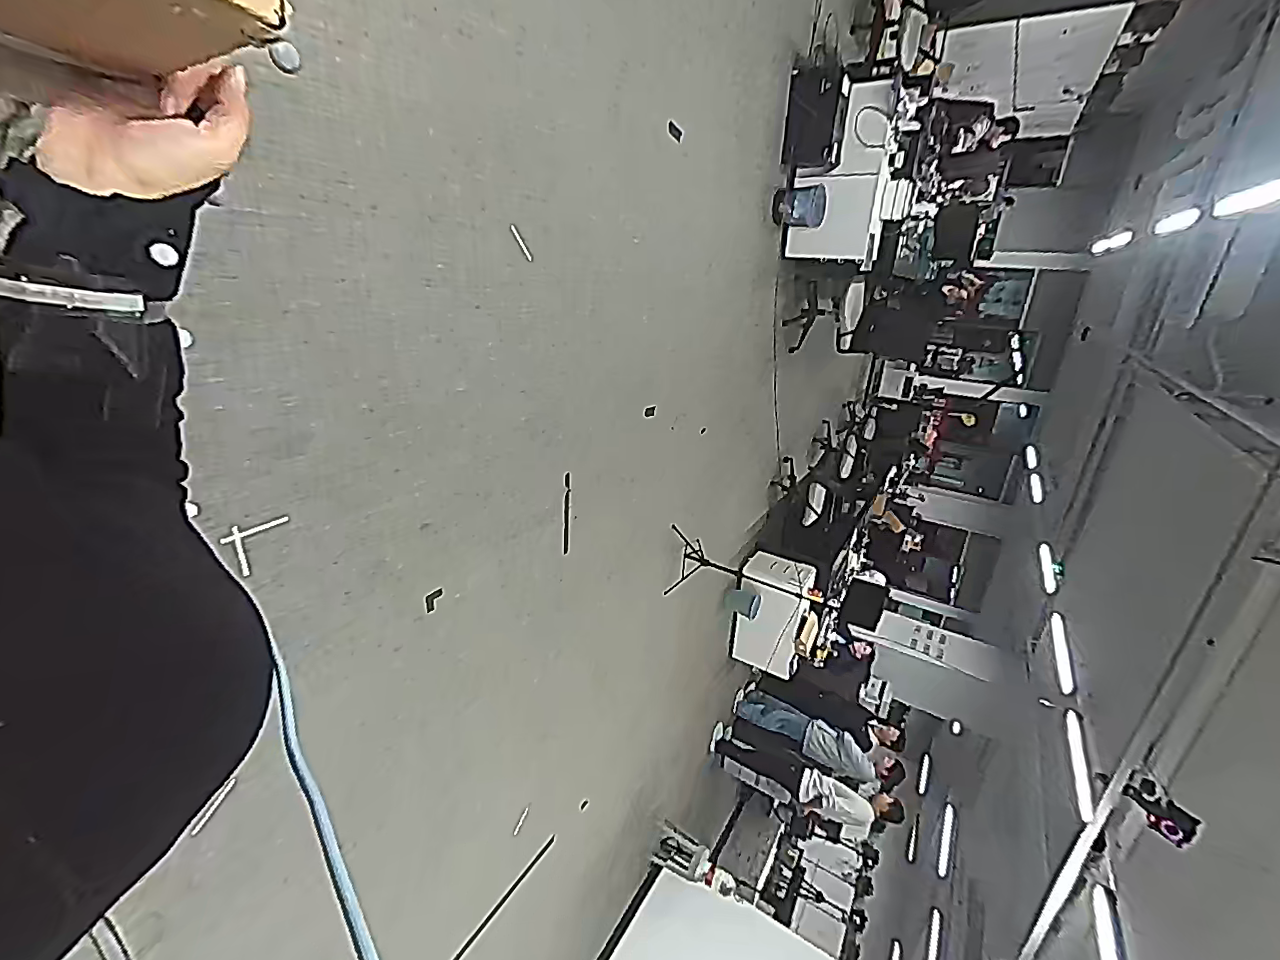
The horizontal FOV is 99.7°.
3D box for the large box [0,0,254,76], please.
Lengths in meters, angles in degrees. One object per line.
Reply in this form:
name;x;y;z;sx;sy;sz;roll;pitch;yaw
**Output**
large box;-0.363;-0.347;0.092;0.408;0.320;0.320;-19;122;-56
